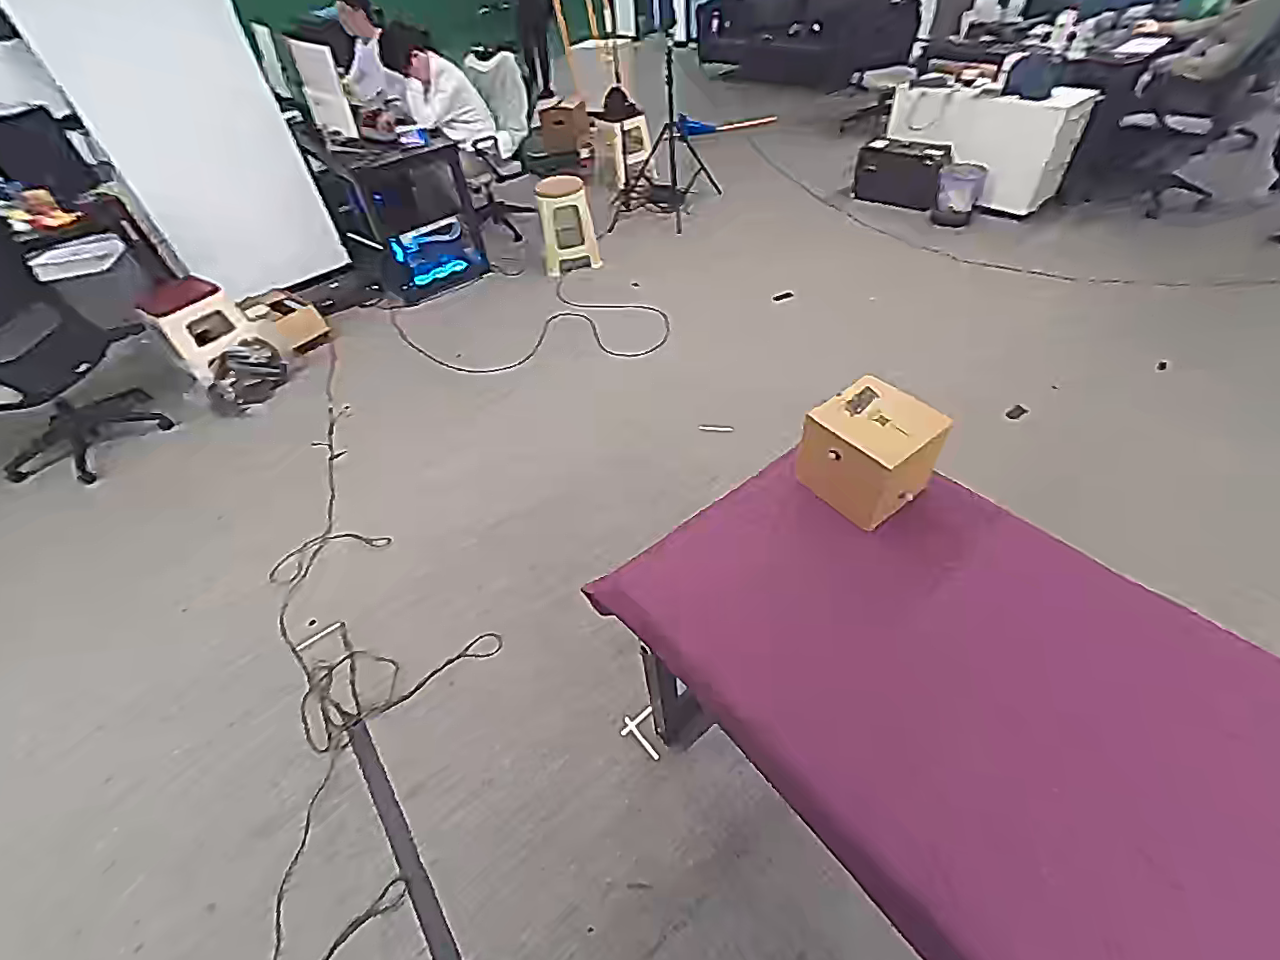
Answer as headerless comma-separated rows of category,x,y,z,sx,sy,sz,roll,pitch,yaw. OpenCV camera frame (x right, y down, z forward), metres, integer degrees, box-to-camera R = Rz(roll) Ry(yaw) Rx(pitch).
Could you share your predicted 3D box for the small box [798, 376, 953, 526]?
small box,0.407,-0.050,0.968,0.168,0.176,0.179,-32,53,-19
